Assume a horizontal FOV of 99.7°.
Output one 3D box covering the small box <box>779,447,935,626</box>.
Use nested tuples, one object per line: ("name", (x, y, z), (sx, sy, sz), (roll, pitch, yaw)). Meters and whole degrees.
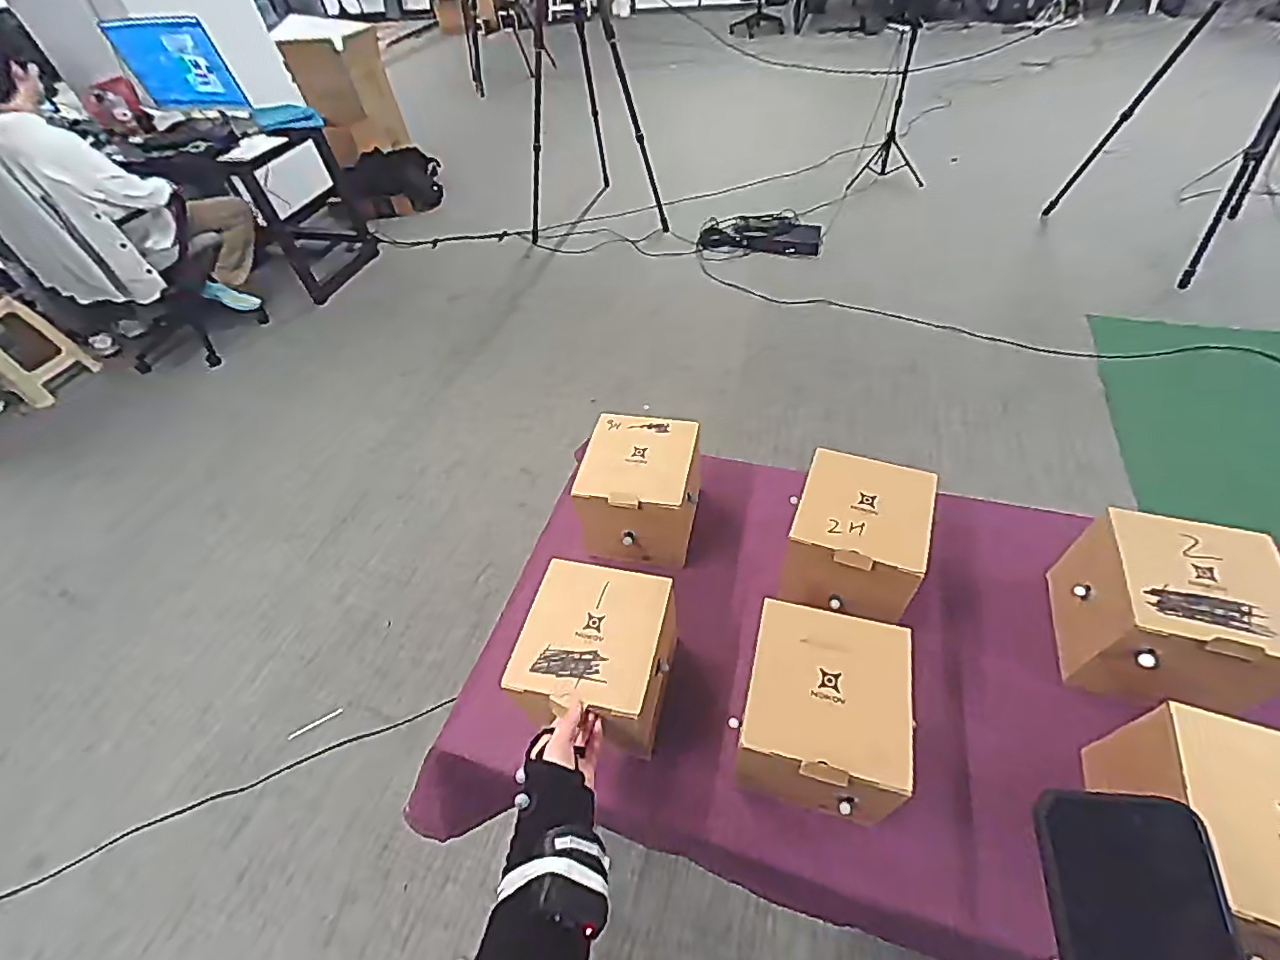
("small box", (0.307, 0.085, 0.784), (0.168, 0.176, 0.179), (15, 53, 20))

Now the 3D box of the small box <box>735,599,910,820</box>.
("small box", (0.209, 0.272, 0.638), (0.168, 0.176, 0.179), (10, 51, 15))

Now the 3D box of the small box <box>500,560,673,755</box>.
("small box", (-0.053, 0.233, 0.703), (0.168, 0.176, 0.179), (7, 49, 13))

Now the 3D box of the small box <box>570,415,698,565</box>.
("small box", (0.002, 0.019, 0.881), (0.168, 0.176, 0.179), (7, 52, 12))

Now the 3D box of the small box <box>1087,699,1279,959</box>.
("small box", (0.572, 0.350, 0.523), (0.168, 0.176, 0.179), (13, 53, 18))
